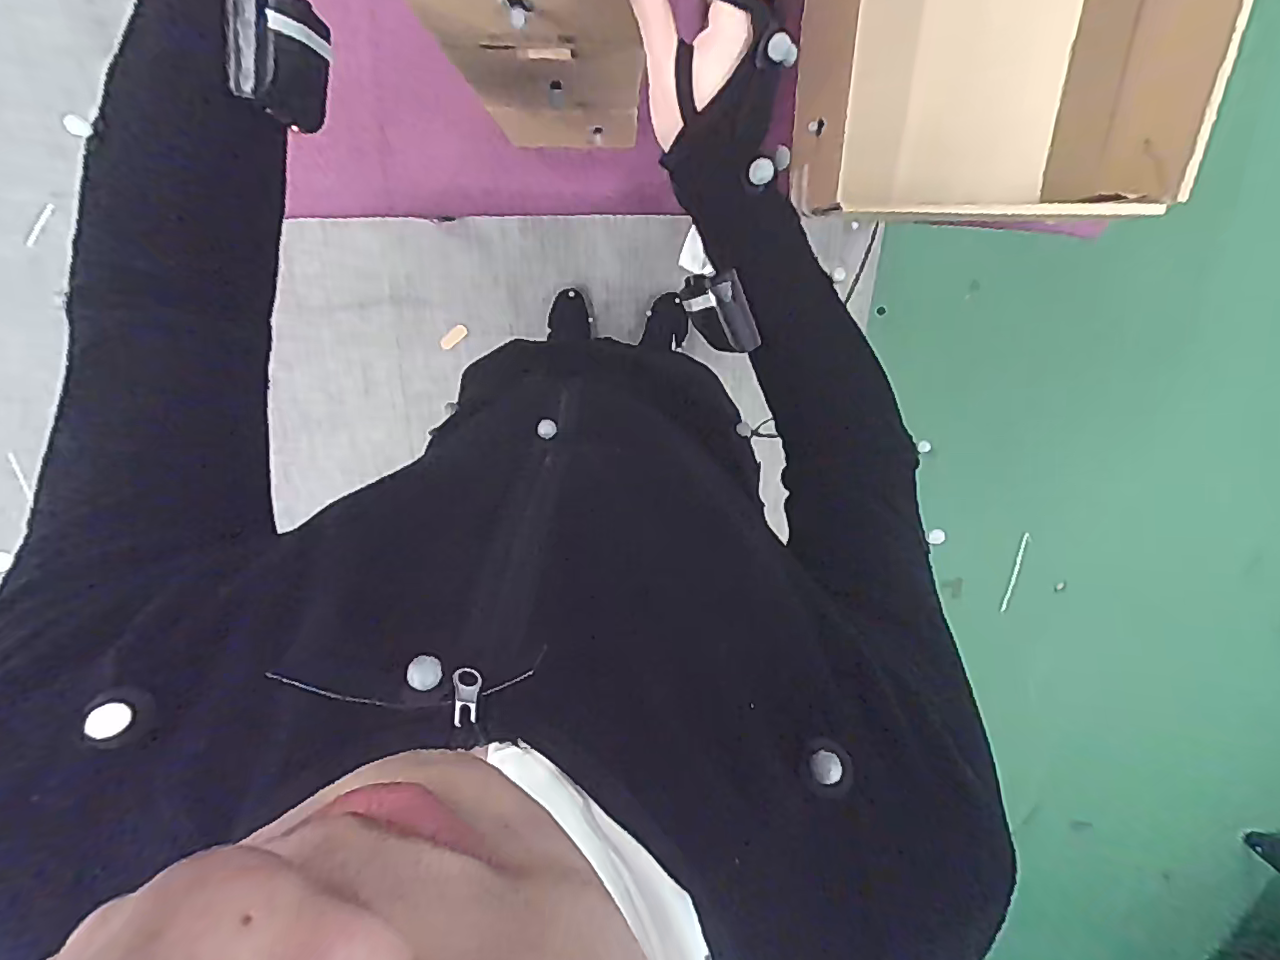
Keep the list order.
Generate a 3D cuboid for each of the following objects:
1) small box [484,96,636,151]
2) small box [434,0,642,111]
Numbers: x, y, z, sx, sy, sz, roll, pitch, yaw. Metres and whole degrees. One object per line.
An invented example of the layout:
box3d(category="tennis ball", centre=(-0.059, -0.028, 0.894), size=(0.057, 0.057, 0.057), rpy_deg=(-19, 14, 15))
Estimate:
box3d(category="small box", centre=(-0.086, -0.500, 0.631), size=(0.168, 0.176, 0.179), rpy_deg=(0, 109, -2))
box3d(category="small box", centre=(-0.081, -0.447, 0.477), size=(0.168, 0.176, 0.179), rpy_deg=(-1, 111, -3))
